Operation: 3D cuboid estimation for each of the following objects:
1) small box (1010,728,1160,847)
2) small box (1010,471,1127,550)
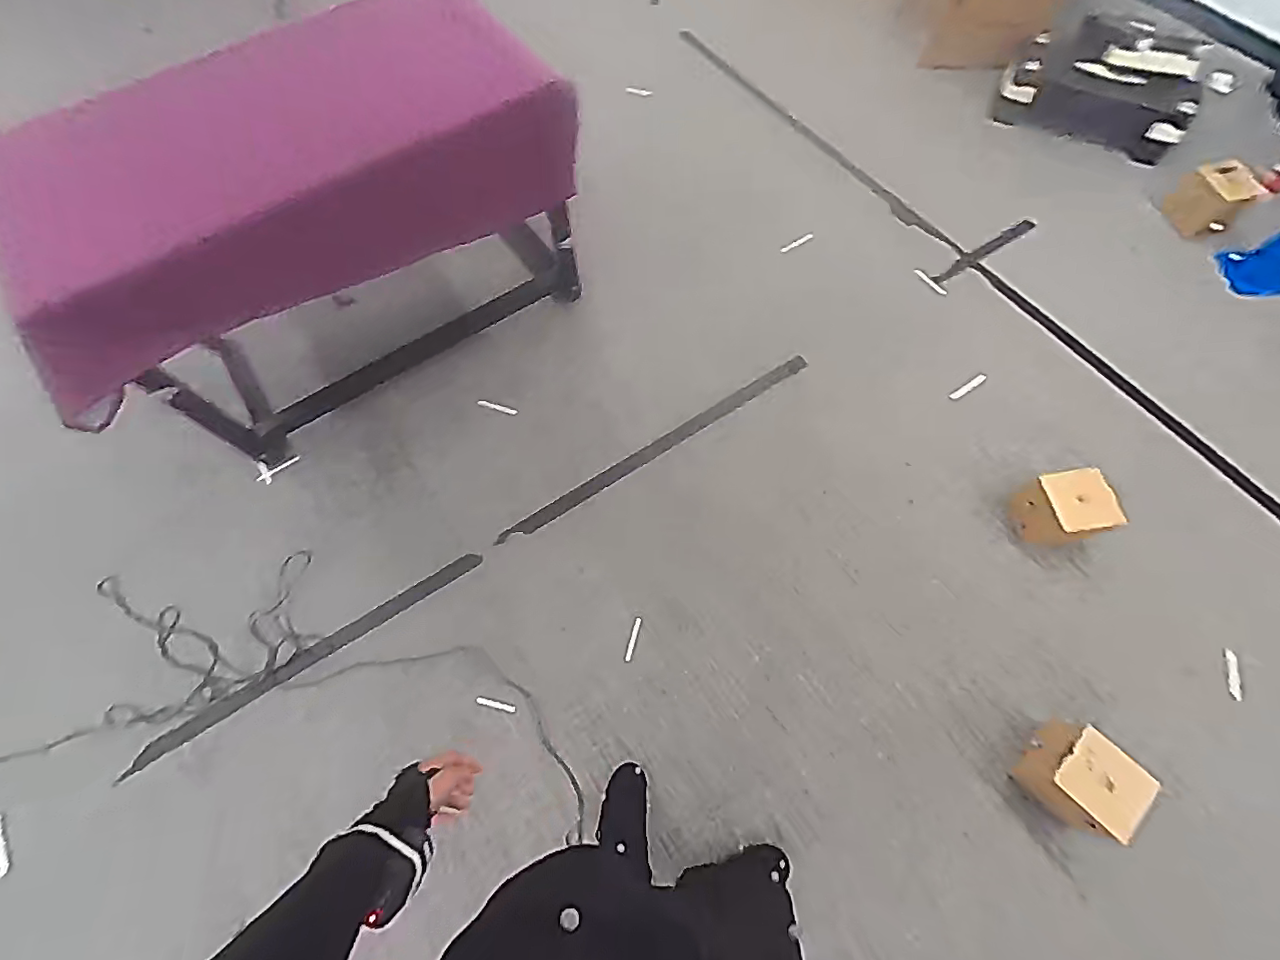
[{"bbox_3d":[1.030,0.704,1.266,0.168,0.176,0.179,-42,72,-15],"label":"small box"},{"bbox_3d":[1.190,0.090,1.523,0.179,0.176,0.168,-7,67,-3],"label":"small box"}]
